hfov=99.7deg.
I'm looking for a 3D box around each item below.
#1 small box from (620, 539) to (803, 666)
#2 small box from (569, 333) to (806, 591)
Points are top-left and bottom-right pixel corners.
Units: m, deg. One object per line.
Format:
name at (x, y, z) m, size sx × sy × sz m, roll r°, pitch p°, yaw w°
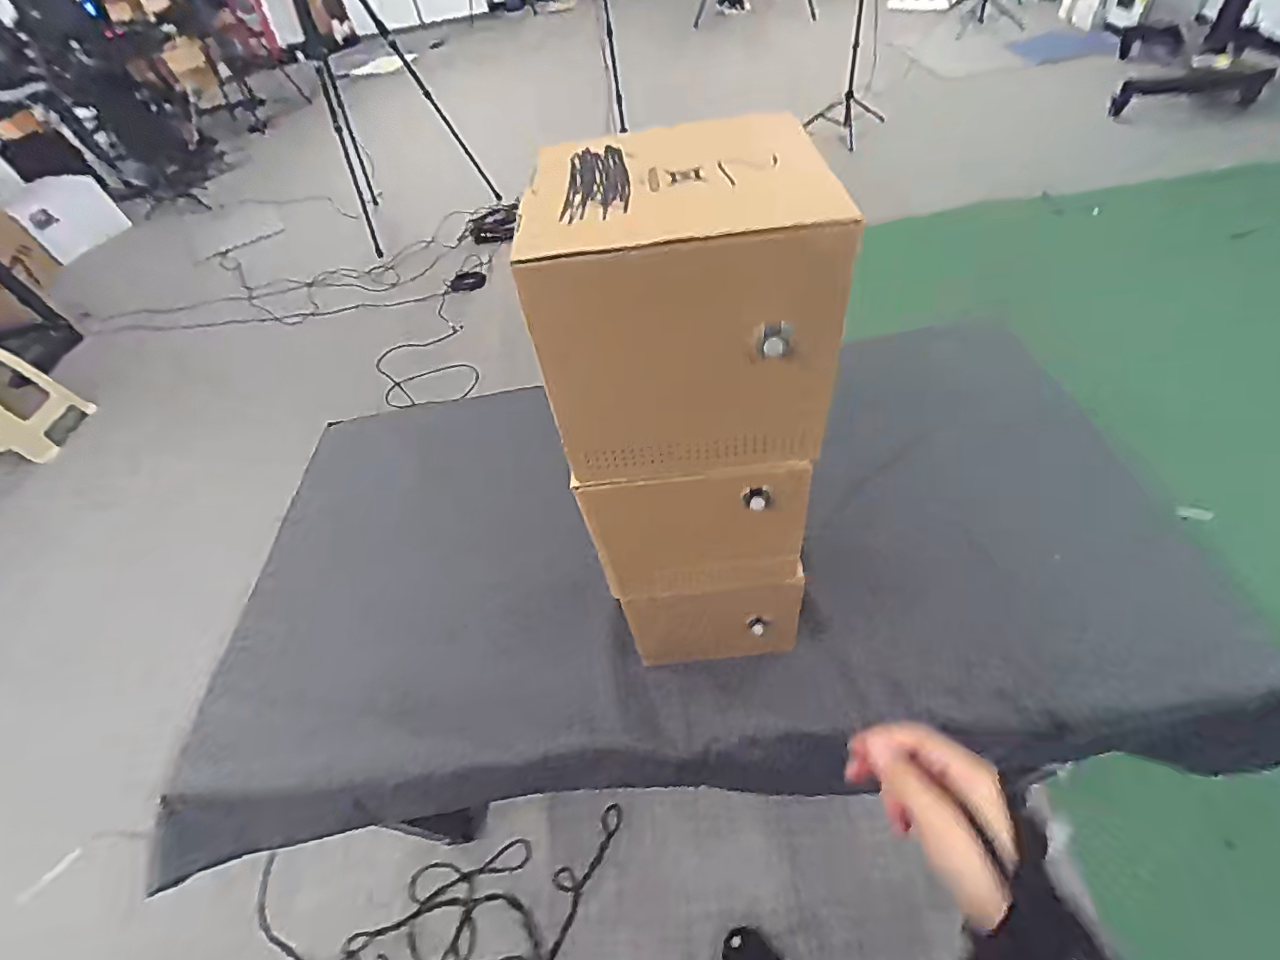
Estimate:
small box at (0.074, 0.096, 0.619) m, size 0.179 × 0.176 × 0.168 m, roll -8°, pitch 48°, yaw 5°
small box at (0.043, -0.010, 0.501) m, size 0.179 × 0.176 × 0.168 m, roll -6°, pitch 48°, yaw 4°
